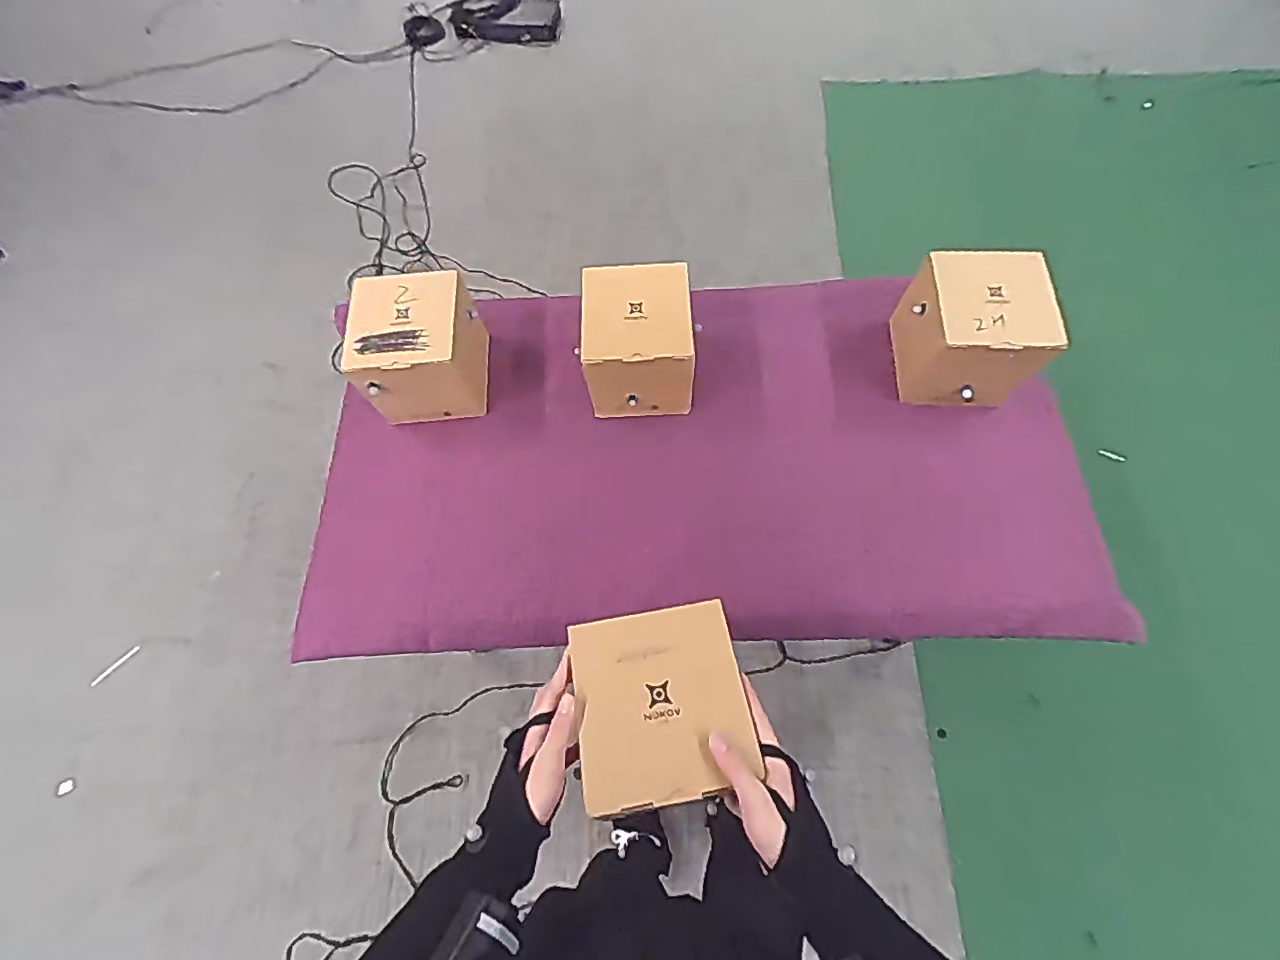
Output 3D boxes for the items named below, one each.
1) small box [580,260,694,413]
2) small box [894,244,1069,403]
[{"bbox_3d":[-0.004,-0.226,0.875,0.168,0.176,0.179,-3,69,2],"label":"small box"},{"bbox_3d":[0.515,-0.241,0.848,0.168,0.176,0.179,2,69,5],"label":"small box"}]
